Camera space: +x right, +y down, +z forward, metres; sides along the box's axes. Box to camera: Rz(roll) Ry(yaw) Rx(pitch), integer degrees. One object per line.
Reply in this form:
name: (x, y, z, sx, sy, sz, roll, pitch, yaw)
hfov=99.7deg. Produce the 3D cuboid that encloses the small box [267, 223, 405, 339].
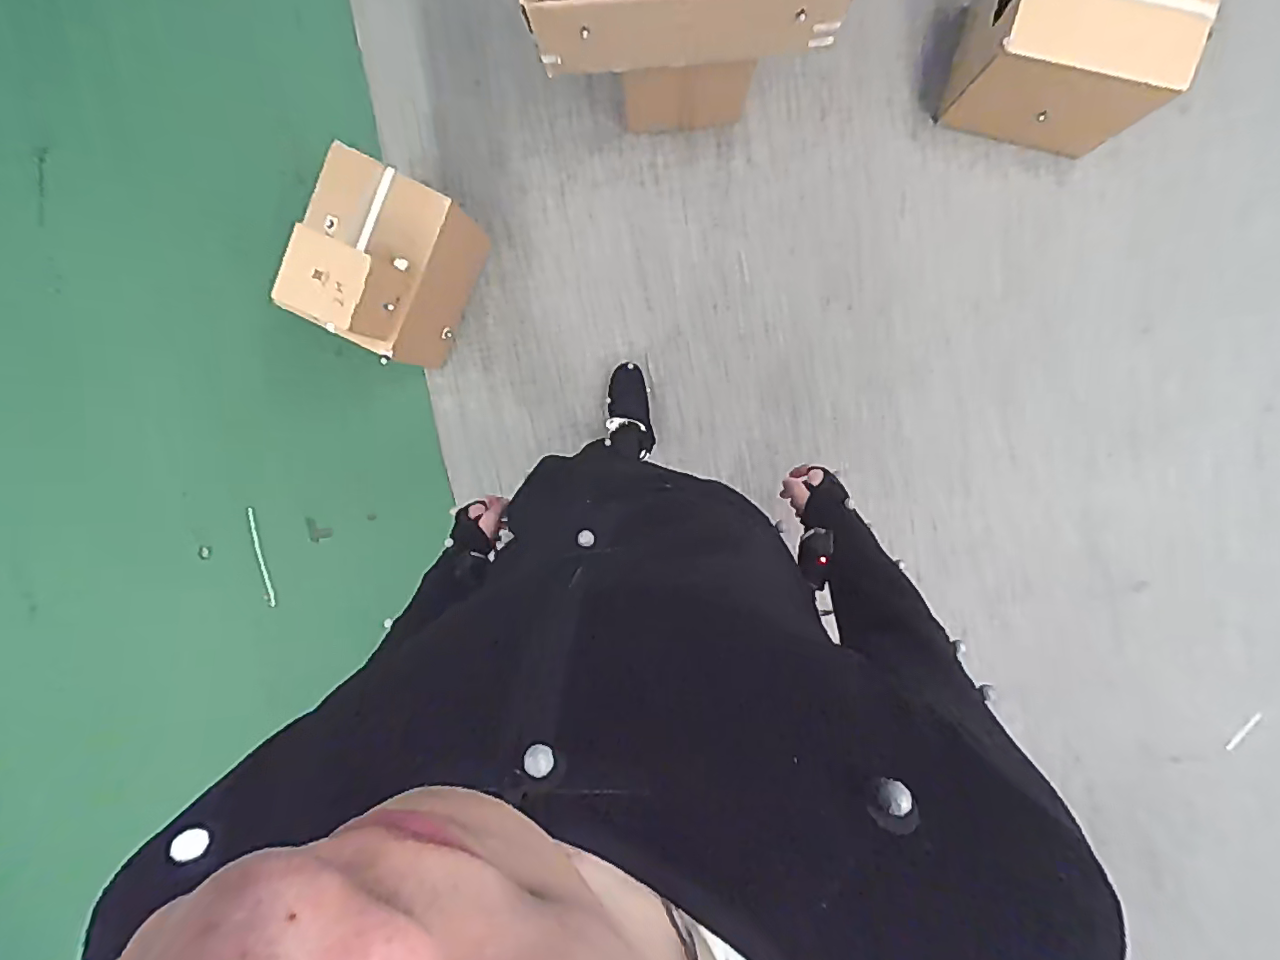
small box: (-0.655, -0.423, 1.186, 0.179, 0.176, 0.168, 24, 97, -2)

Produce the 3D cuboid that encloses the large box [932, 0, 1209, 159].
large box: (1.010, -1.035, 1.302, 0.408, 0.320, 0.320, 14, 96, 2)
